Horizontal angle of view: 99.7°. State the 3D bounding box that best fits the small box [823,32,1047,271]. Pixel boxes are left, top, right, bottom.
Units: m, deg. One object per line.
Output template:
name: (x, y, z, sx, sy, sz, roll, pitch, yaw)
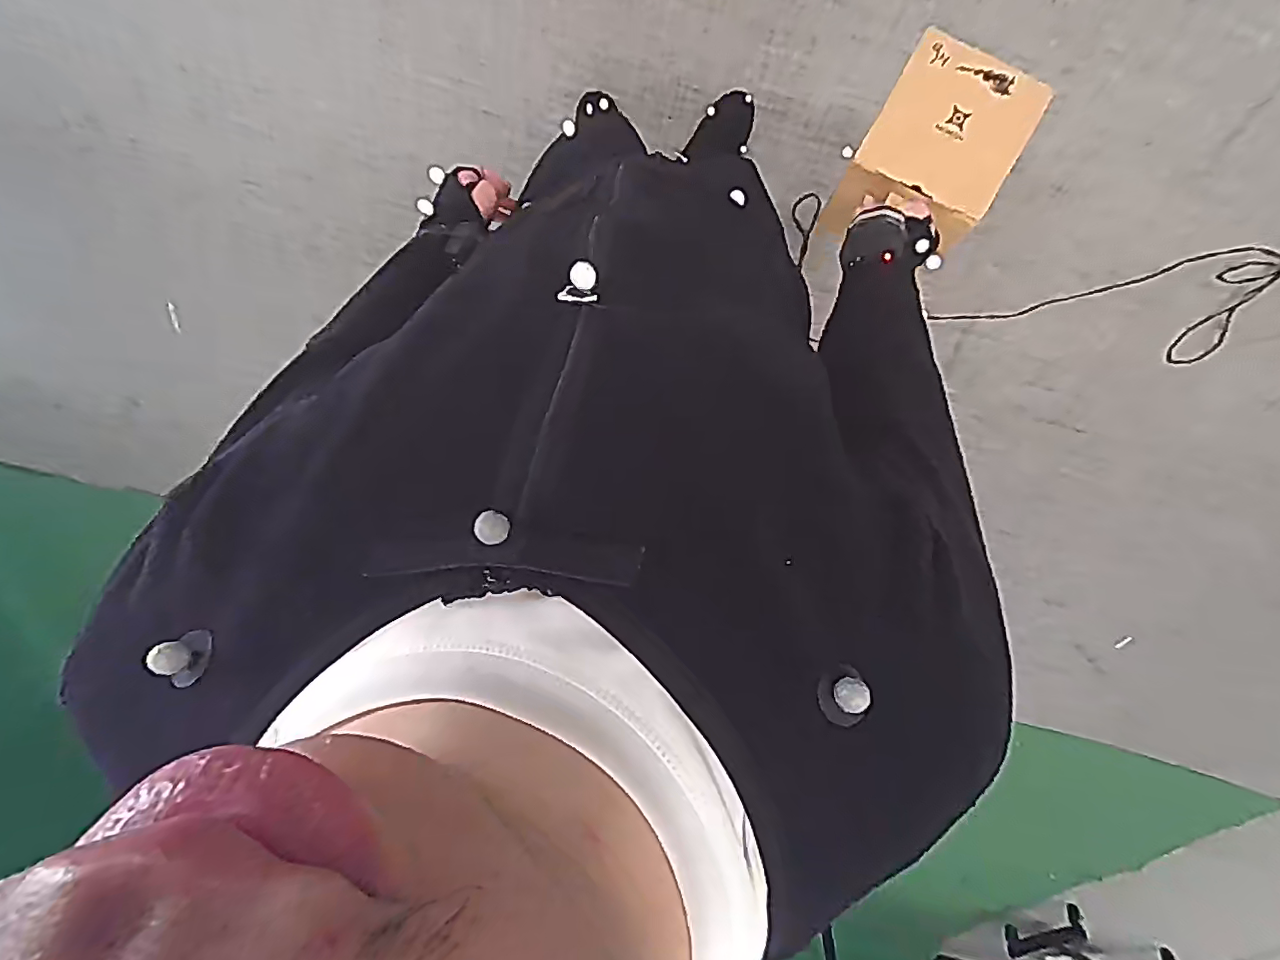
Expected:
small box: (0.363, -0.409, 0.709, 0.168, 0.176, 0.179, 32, 92, 2)
